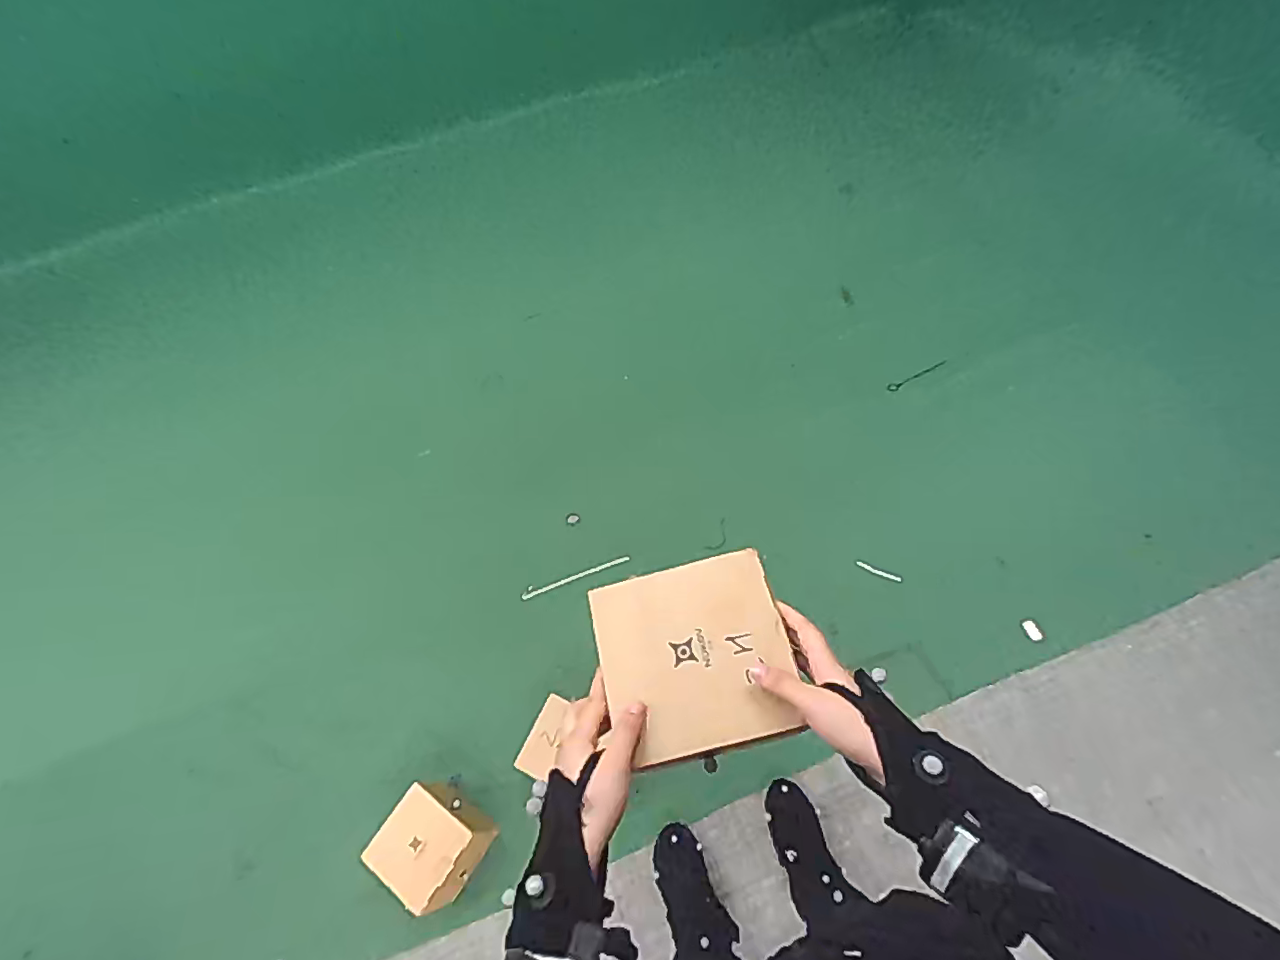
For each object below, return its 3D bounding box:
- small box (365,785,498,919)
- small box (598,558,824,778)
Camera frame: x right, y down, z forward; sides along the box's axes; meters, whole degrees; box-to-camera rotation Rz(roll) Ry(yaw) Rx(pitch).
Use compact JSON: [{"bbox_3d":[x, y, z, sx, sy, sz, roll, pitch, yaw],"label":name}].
[{"bbox_3d":[-0.440,0.792,1.168,0.179,0.176,0.168,28,67,19],"label":"small box"},{"bbox_3d":[0.069,0.203,0.564,0.179,0.176,0.168,-15,61,1],"label":"small box"}]
